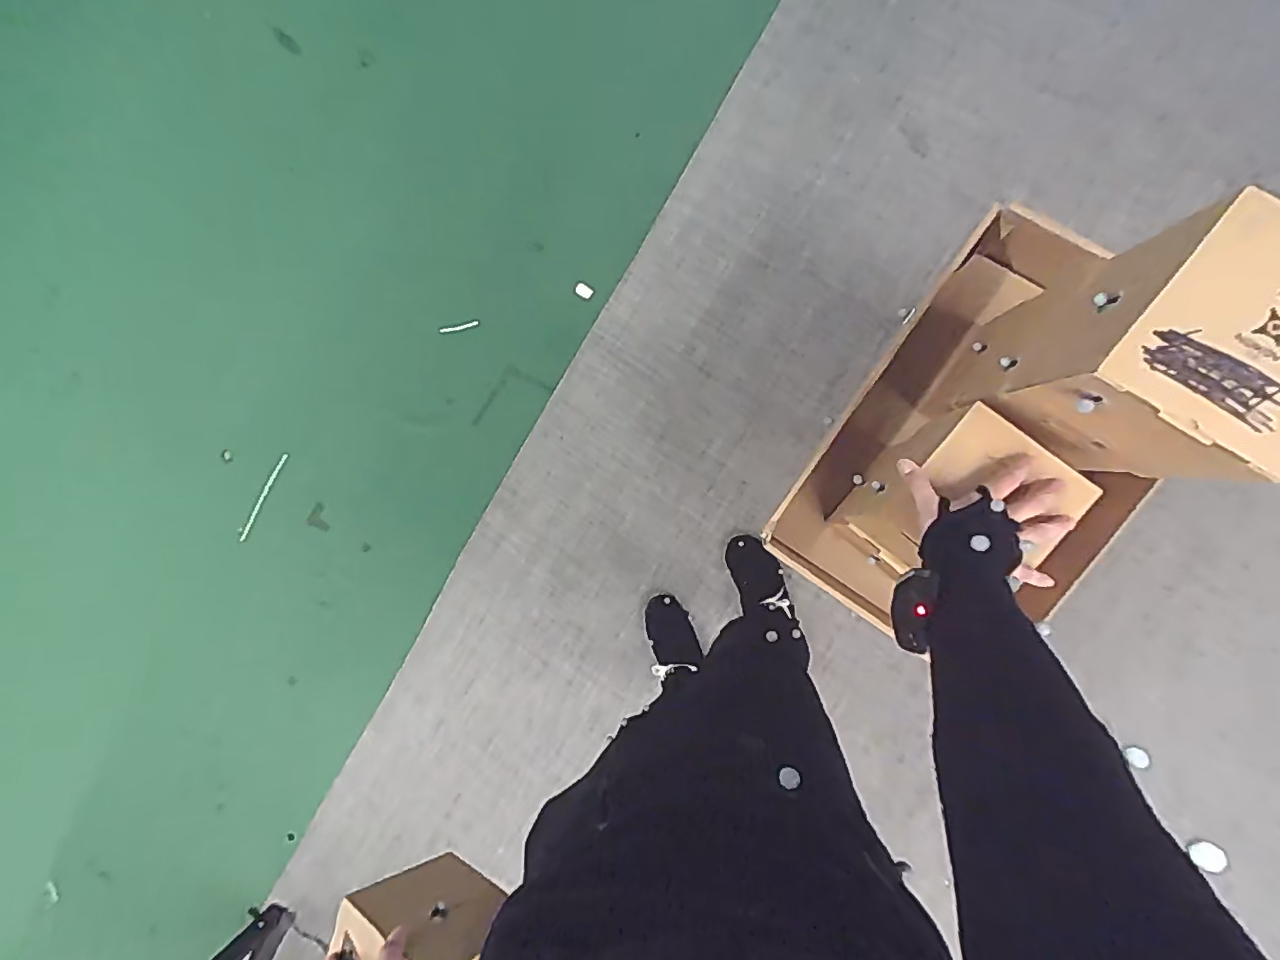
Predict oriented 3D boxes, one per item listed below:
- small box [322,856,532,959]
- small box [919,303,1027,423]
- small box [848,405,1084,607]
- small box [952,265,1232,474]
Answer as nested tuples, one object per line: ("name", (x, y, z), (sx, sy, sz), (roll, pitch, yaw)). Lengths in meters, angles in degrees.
("small box", (-0.266, 0.600, 0.661), (0.179, 0.176, 0.168), (9, 80, 31))
("small box", (0.567, -0.136, 0.831), (0.168, 0.176, 0.179), (35, 99, 9))
("small box", (0.394, 0.034, 0.698), (0.168, 0.176, 0.179), (41, 91, 7))
("small box", (0.532, -0.127, 0.673), (0.168, 0.176, 0.179), (34, 100, 8))
